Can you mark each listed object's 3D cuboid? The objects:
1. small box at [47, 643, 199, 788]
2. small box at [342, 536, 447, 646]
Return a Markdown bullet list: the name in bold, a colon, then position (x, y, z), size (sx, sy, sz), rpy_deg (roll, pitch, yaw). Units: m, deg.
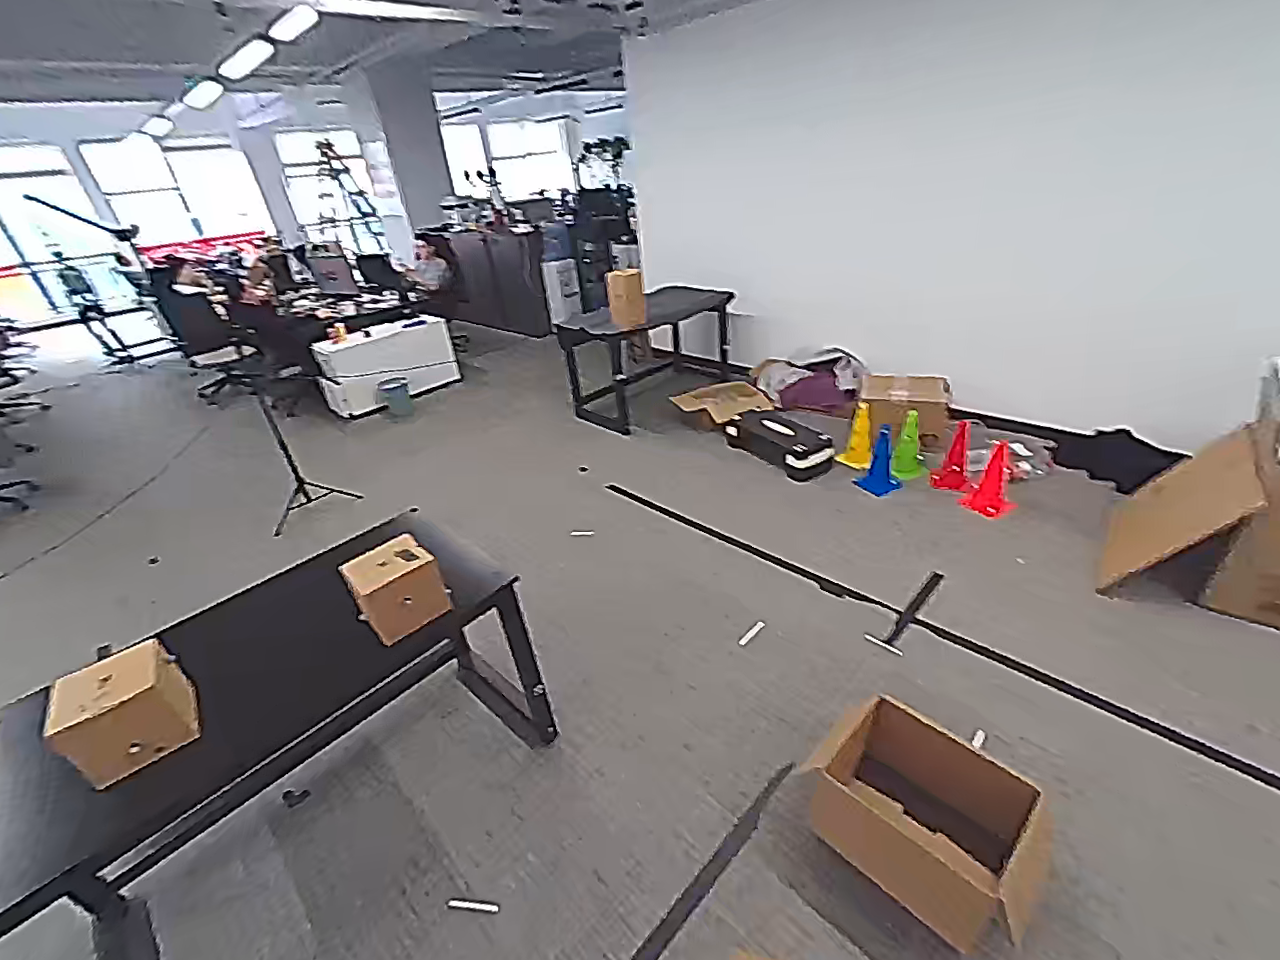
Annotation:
- **small box**: position (-1.044, 0.479, 1.107), size (0.168, 0.176, 0.179), rpy_deg (-28, 37, -31)
- **small box**: position (-0.607, 0.275, 1.358), size (0.179, 0.176, 0.168), rpy_deg (-32, 38, -33)
